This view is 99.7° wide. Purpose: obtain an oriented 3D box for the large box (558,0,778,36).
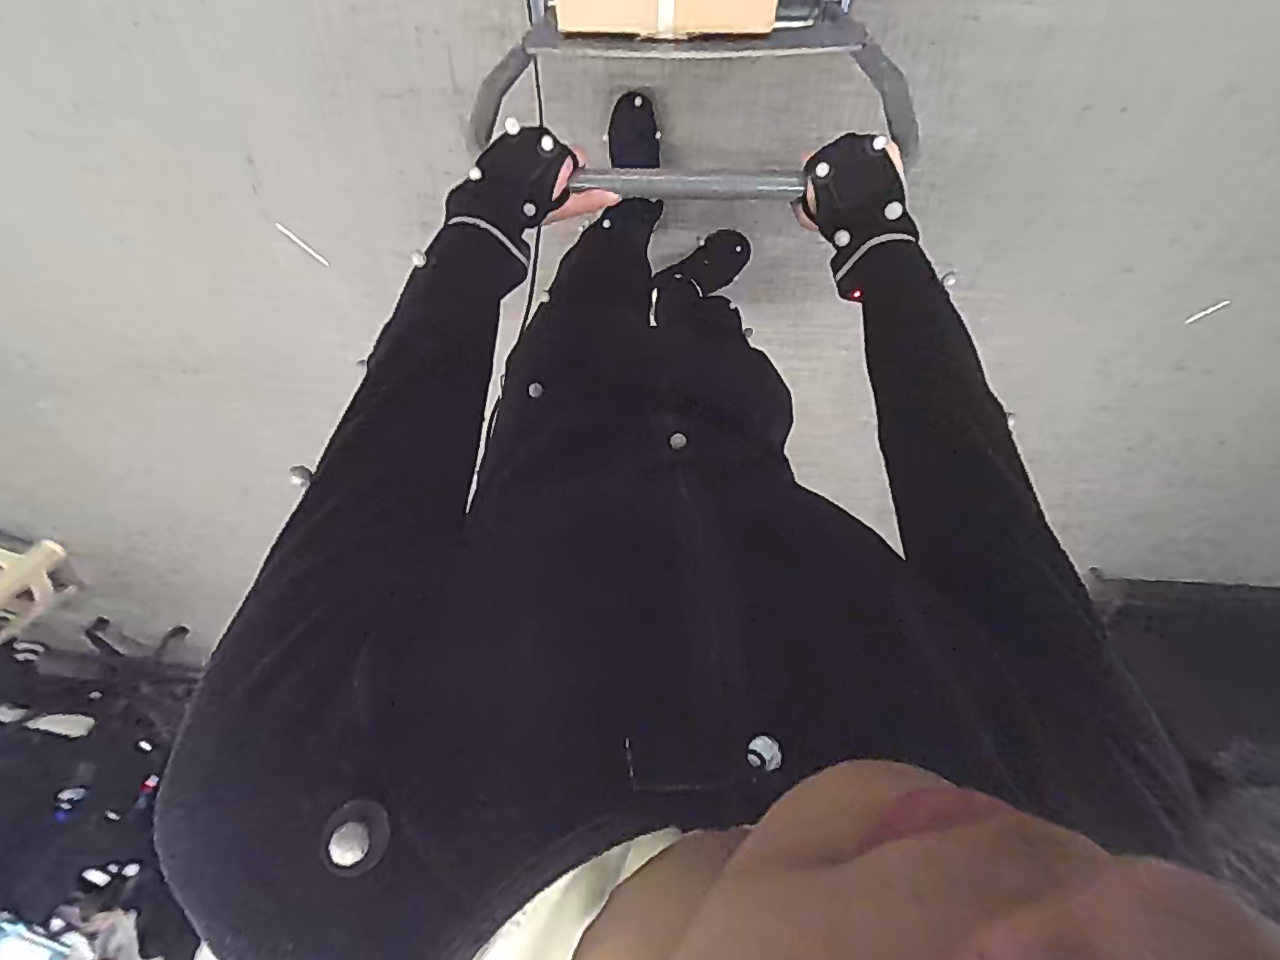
[{"bbox_3d":[0.048,-0.894,0.756,0.320,0.320,0.408,3,134,3],"label":"large box"}]
